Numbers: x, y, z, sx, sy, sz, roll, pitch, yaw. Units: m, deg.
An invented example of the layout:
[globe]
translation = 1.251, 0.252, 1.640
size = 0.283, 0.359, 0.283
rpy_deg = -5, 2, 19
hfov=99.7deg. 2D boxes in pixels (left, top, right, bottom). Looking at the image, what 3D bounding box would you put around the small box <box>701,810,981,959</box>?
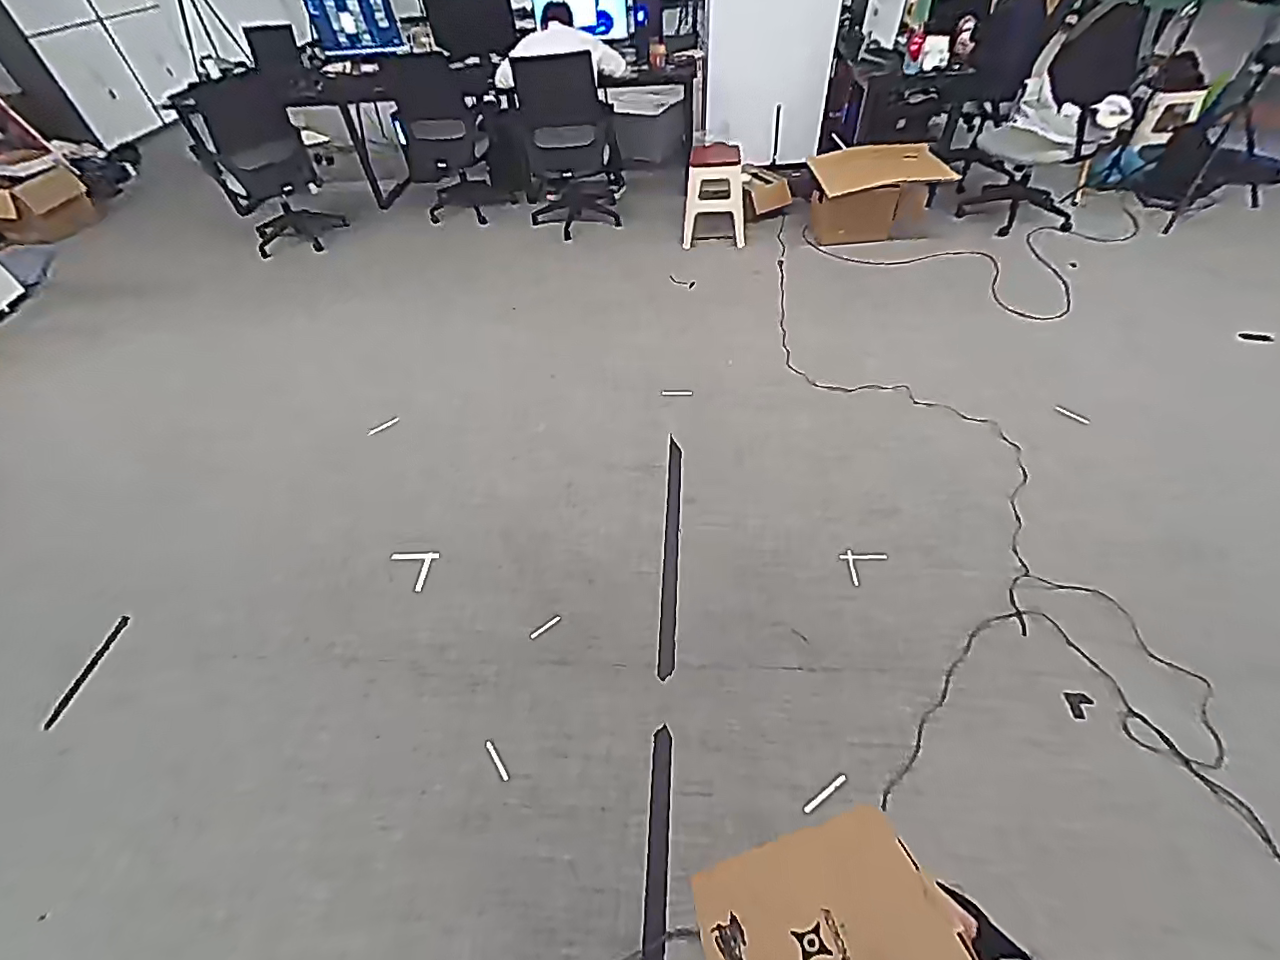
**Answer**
[small box]
translation = 0.165, 0.408, 0.413
size = 0.179, 0.176, 0.168
rpy_deg = -20, 13, 0
